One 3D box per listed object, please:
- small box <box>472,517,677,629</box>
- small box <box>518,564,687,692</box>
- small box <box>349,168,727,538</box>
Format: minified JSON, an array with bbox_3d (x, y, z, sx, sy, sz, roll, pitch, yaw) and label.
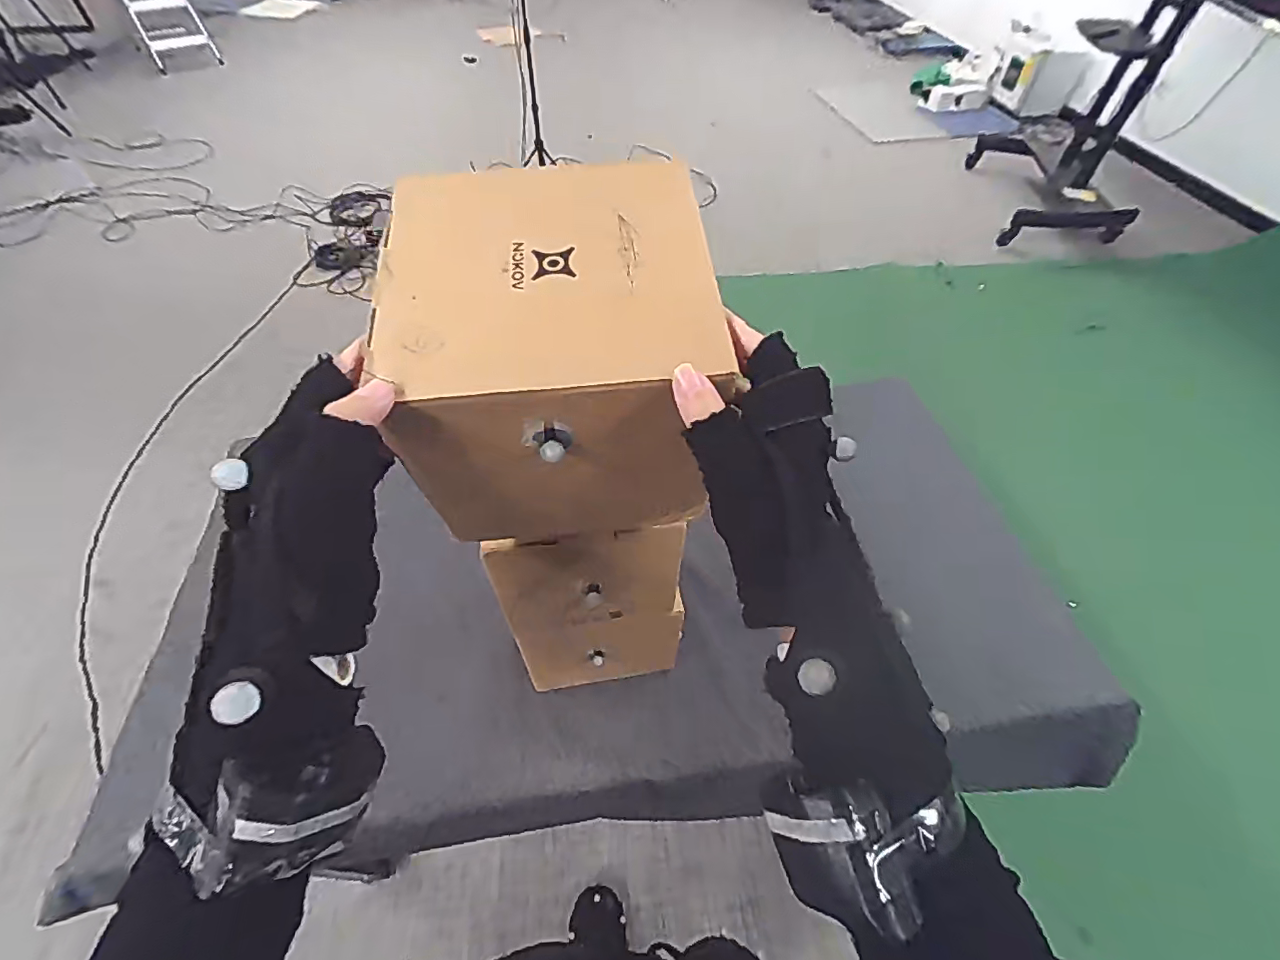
[{"bbox_3d":[-0.062,0.033,0.534,0.168,0.176,0.179,-7,52,-7],"label":"small box"},{"bbox_3d":[-0.057,0.139,0.659,0.179,0.176,0.168,-9,52,-10],"label":"small box"},{"bbox_3d":[-0.053,-0.071,0.353,0.179,0.176,0.168,-5,62,-4],"label":"small box"}]
